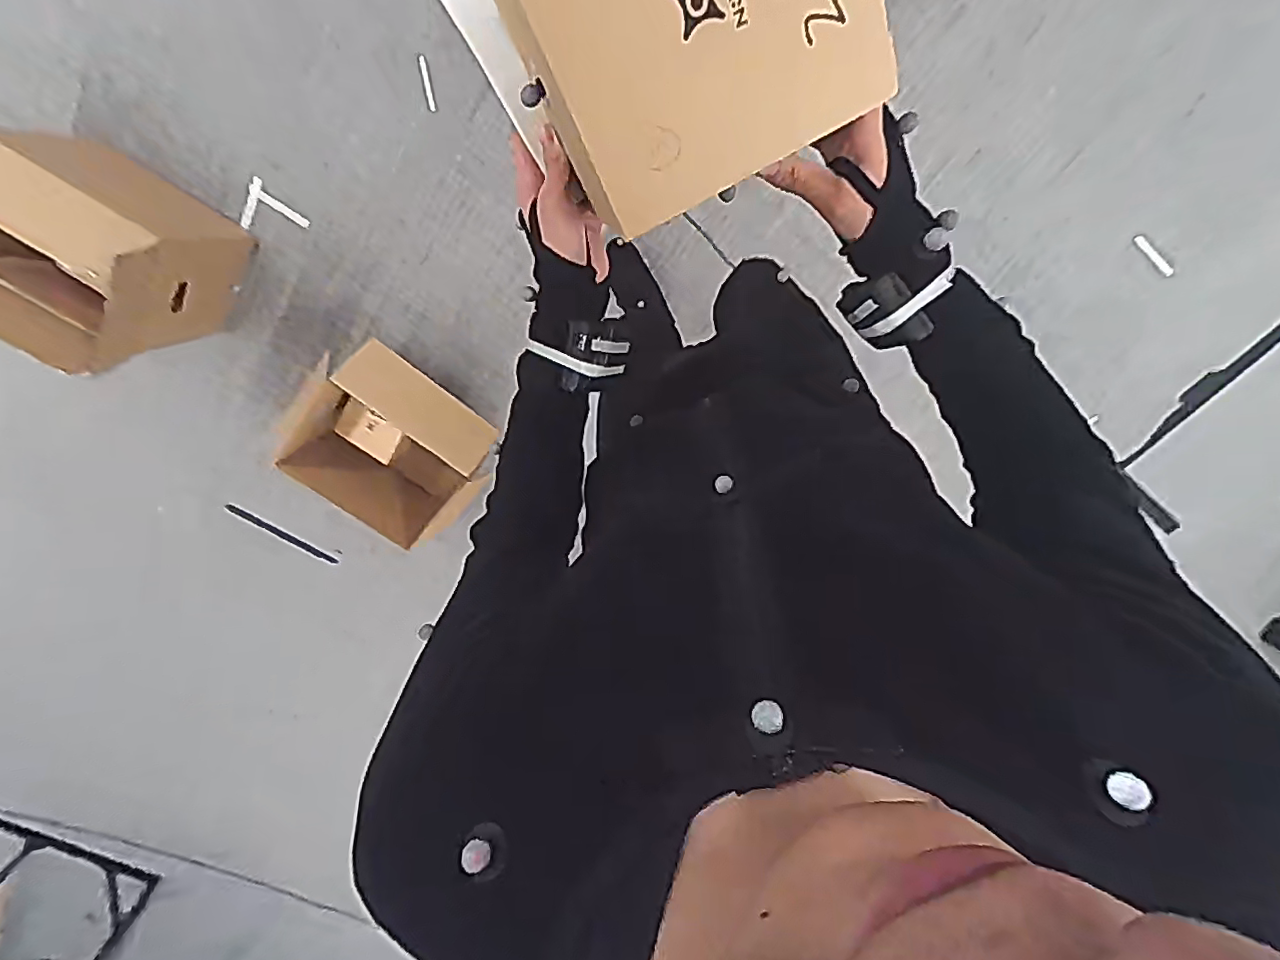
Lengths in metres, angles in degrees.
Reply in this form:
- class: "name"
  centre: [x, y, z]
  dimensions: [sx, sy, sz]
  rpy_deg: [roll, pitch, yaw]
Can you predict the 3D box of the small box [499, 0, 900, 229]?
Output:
- class: "small box"
  centre: [0.017, -0.276, 0.322]
  dimensions: [0.179, 0.176, 0.168]
  rpy_deg: [-26, 124, 4]
